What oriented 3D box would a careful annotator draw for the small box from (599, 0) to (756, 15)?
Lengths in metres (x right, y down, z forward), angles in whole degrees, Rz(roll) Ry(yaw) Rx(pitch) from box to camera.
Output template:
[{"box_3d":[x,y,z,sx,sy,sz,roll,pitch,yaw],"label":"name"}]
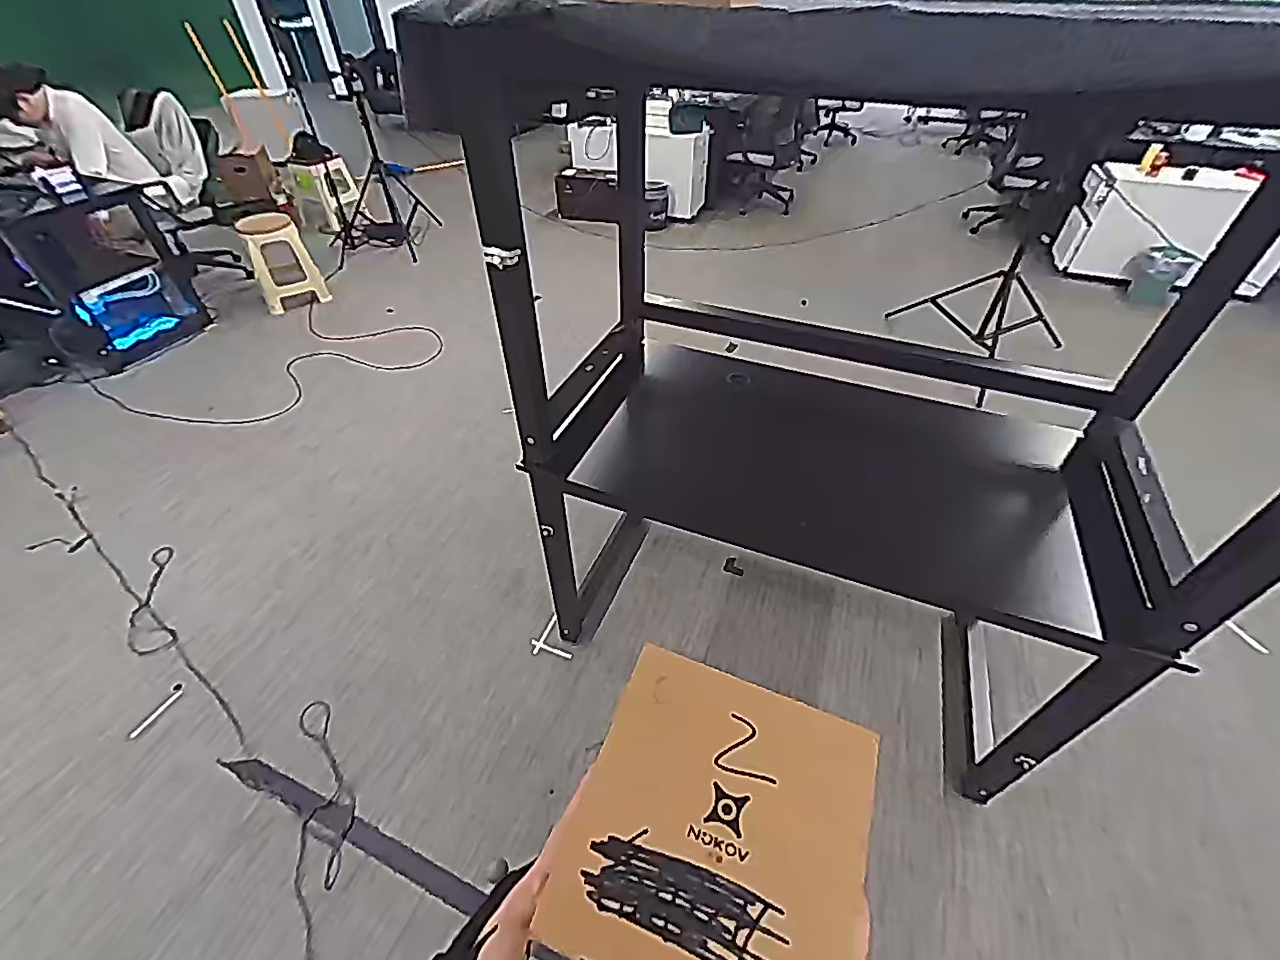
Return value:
[{"box_3d":[0.050,-0.631,0.602,0.168,0.176,0.179,15,43,13],"label":"small box"}]
